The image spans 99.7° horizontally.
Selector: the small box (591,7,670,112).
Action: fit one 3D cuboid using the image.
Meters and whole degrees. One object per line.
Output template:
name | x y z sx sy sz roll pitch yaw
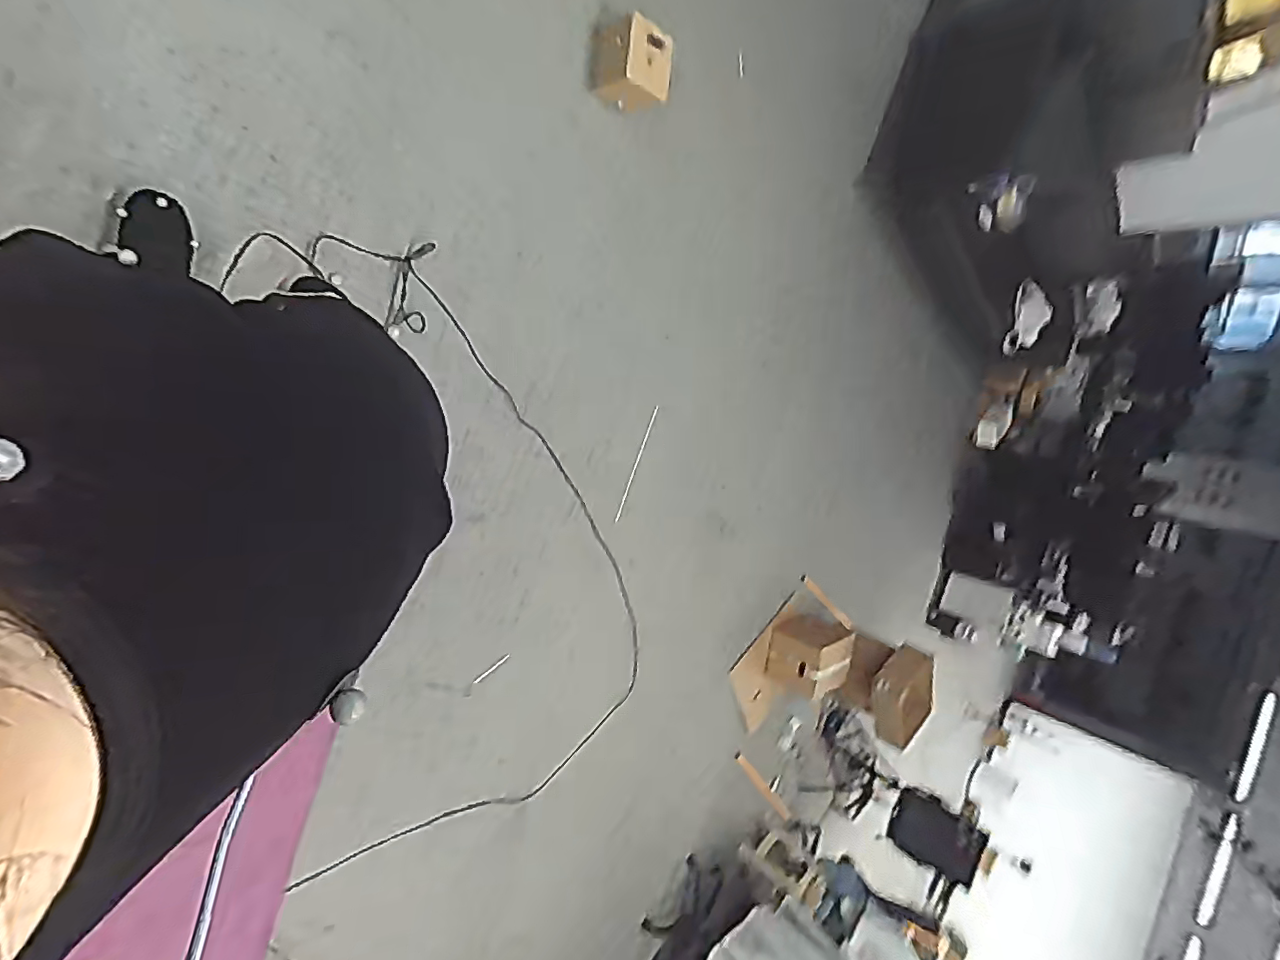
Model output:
small box | -0.032 -1.258 1.633 0.168 0.176 0.179 -3 105 -43
